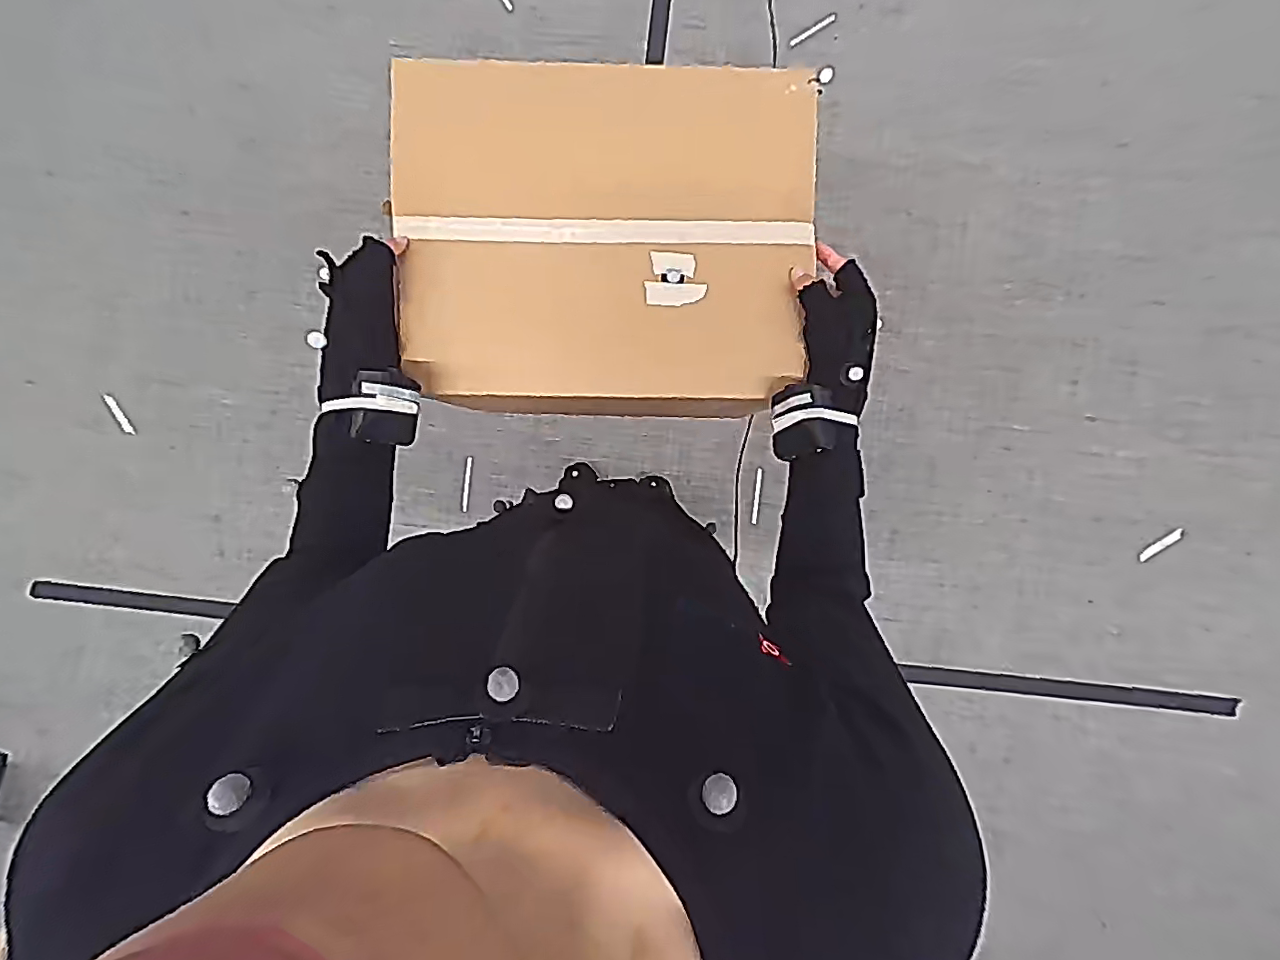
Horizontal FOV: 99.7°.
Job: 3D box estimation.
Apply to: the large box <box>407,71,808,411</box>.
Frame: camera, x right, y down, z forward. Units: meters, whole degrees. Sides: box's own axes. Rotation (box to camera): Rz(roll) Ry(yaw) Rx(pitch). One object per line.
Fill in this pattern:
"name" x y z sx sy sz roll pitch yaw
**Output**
"large box" -0.036 -0.256 0.690 0.408 0.320 0.320 0 94 -2
